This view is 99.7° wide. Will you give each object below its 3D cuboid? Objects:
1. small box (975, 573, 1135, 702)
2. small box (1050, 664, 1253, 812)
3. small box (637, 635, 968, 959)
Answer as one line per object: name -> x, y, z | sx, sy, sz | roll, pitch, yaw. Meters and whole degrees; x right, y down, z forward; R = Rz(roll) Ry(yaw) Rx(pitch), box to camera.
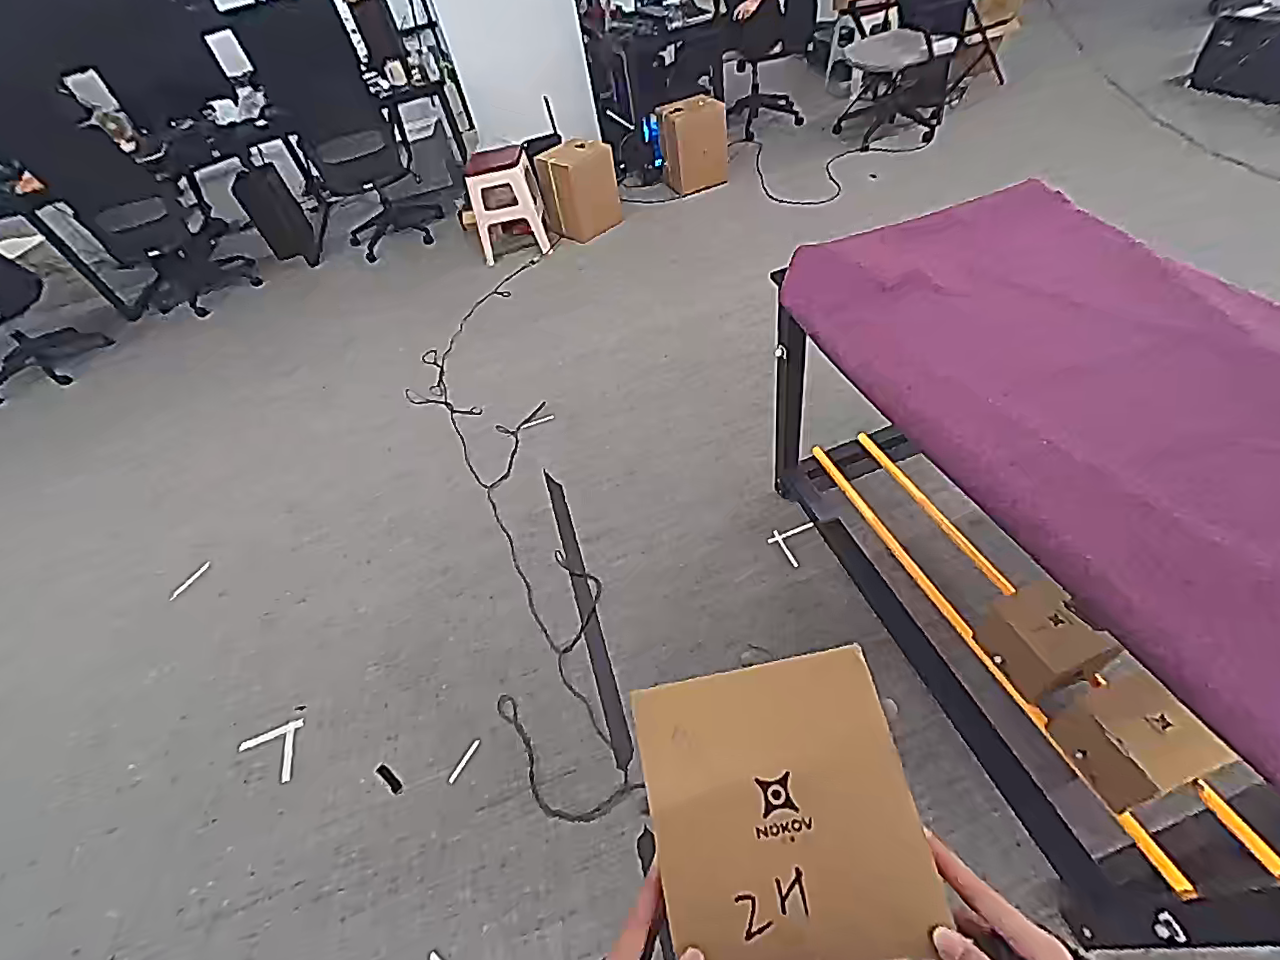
small box -> 0.834, 0.325, 1.111 | 0.179, 0.176, 0.168 | -22, 47, -4
small box -> 0.895, 0.465, 0.971 | 0.179, 0.176, 0.168 | -22, 47, -4
small box -> 0.102, 0.231, 0.411 | 0.168, 0.176, 0.179 | -13, 66, 5
